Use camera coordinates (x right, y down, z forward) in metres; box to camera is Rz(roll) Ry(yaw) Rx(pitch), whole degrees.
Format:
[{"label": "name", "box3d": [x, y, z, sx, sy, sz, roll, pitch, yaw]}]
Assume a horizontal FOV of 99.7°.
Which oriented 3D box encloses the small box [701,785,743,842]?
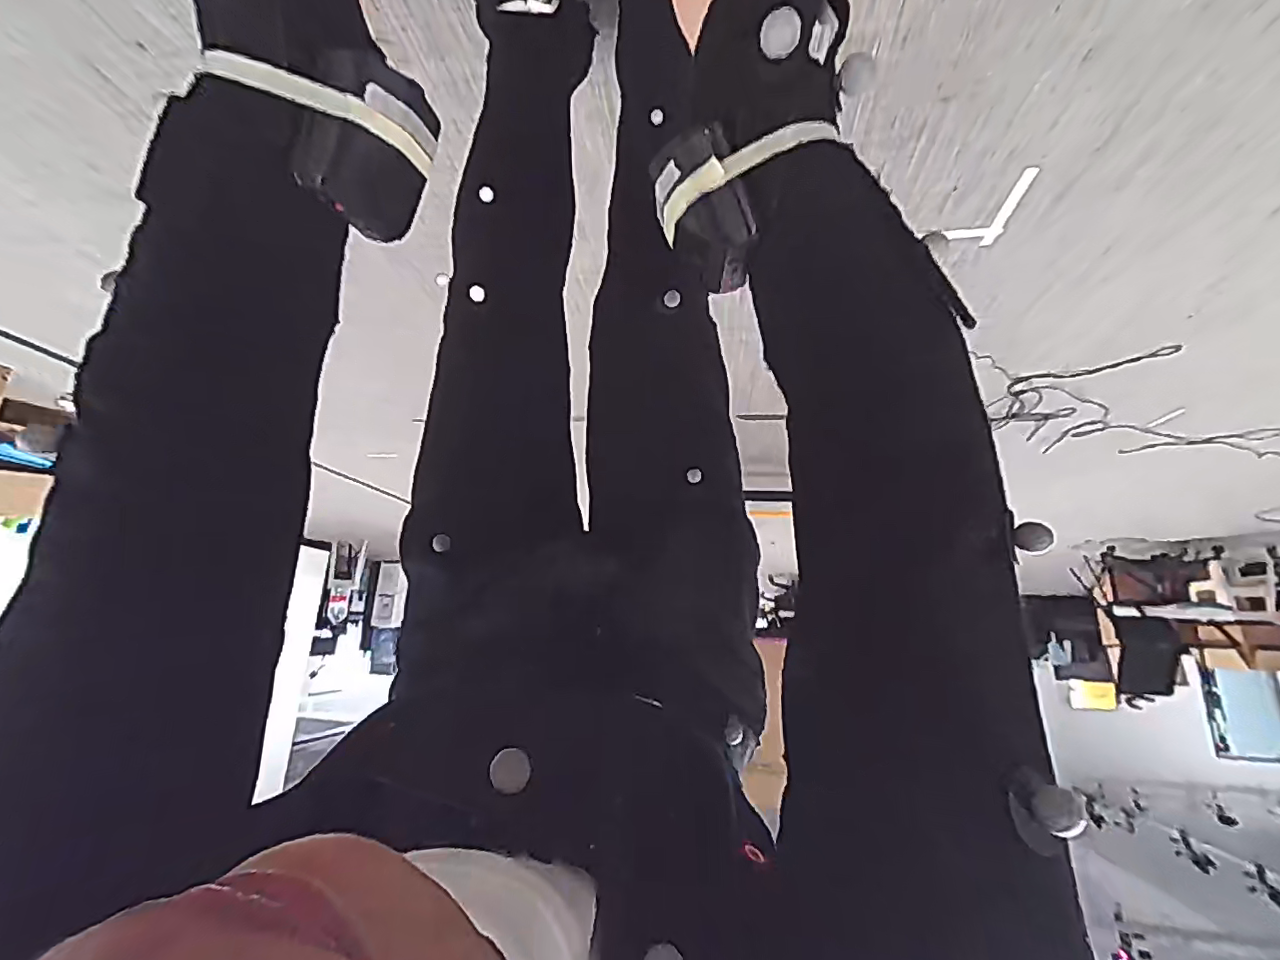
[{"label": "small box", "box3d": [0.360, 1.451, 2.365, 0.179, 0.176, 0.168, 0, 164, 9]}]
